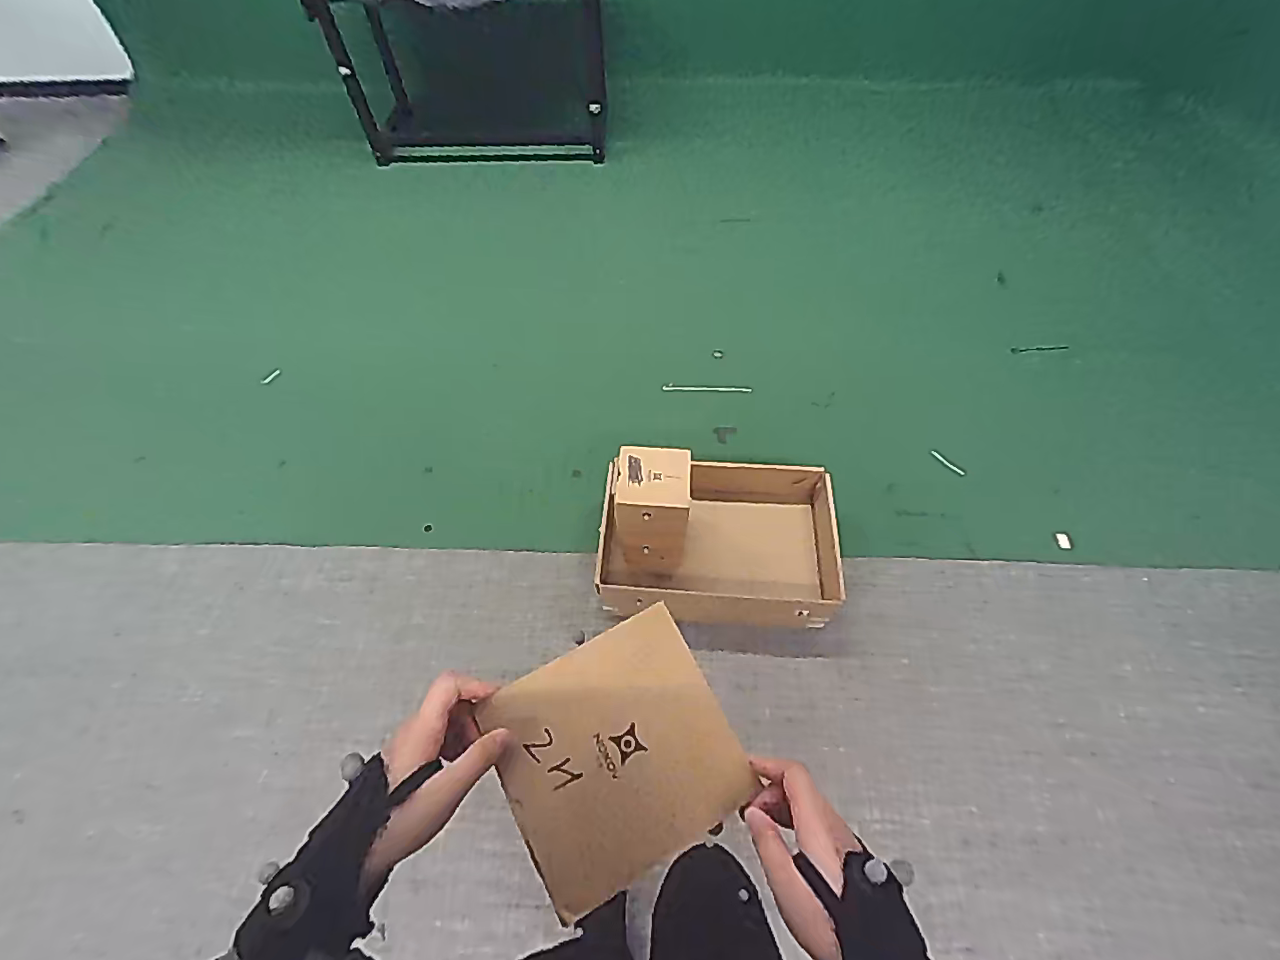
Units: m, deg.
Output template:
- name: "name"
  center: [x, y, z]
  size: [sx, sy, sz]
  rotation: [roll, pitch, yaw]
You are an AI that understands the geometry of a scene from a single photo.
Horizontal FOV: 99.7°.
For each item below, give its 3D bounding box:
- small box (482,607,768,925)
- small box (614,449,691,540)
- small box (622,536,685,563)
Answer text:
- name: "small box"
  center: [-0.020, 0.235, 0.493]
  size: [0.179, 0.176, 0.168]
  rotation: [-26, 75, -14]
- name: "small box"
  center: [0.033, 0.040, 1.344]
  size: [0.179, 0.176, 0.168]
  rotation: [3, 58, 2]
- name: "small box"
  center: [0.042, 0.119, 1.487]
  size: [0.168, 0.176, 0.179]
  rotation: [2, 58, 2]
